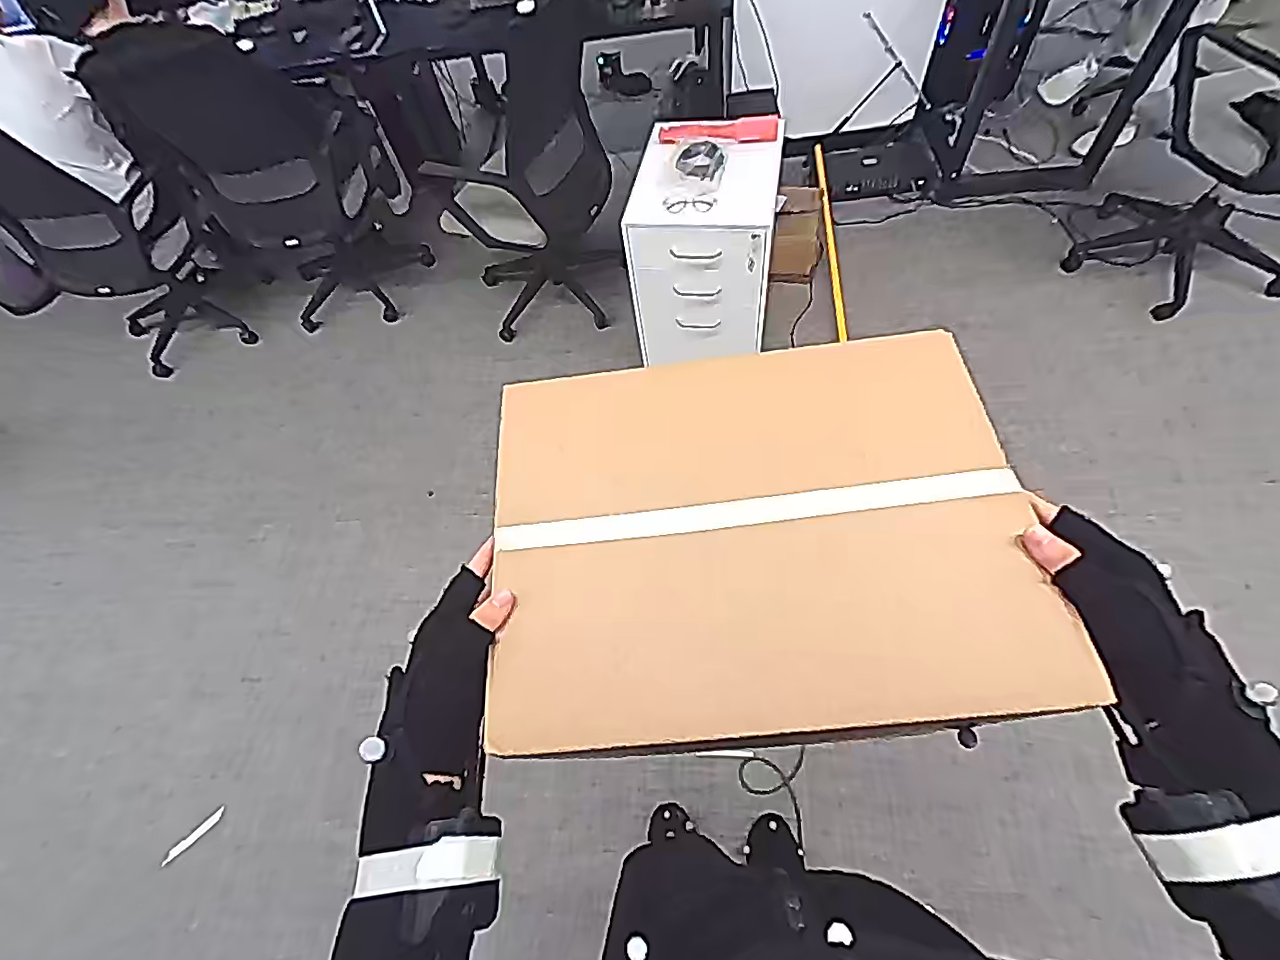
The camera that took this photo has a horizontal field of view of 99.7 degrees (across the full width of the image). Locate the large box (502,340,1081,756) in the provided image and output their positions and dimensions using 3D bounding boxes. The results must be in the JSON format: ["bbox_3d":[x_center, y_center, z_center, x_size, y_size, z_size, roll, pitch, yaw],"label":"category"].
[{"bbox_3d":[0.104,0.099,0.568,0.408,0.320,0.320,-7,62,4],"label":"large box"}]
